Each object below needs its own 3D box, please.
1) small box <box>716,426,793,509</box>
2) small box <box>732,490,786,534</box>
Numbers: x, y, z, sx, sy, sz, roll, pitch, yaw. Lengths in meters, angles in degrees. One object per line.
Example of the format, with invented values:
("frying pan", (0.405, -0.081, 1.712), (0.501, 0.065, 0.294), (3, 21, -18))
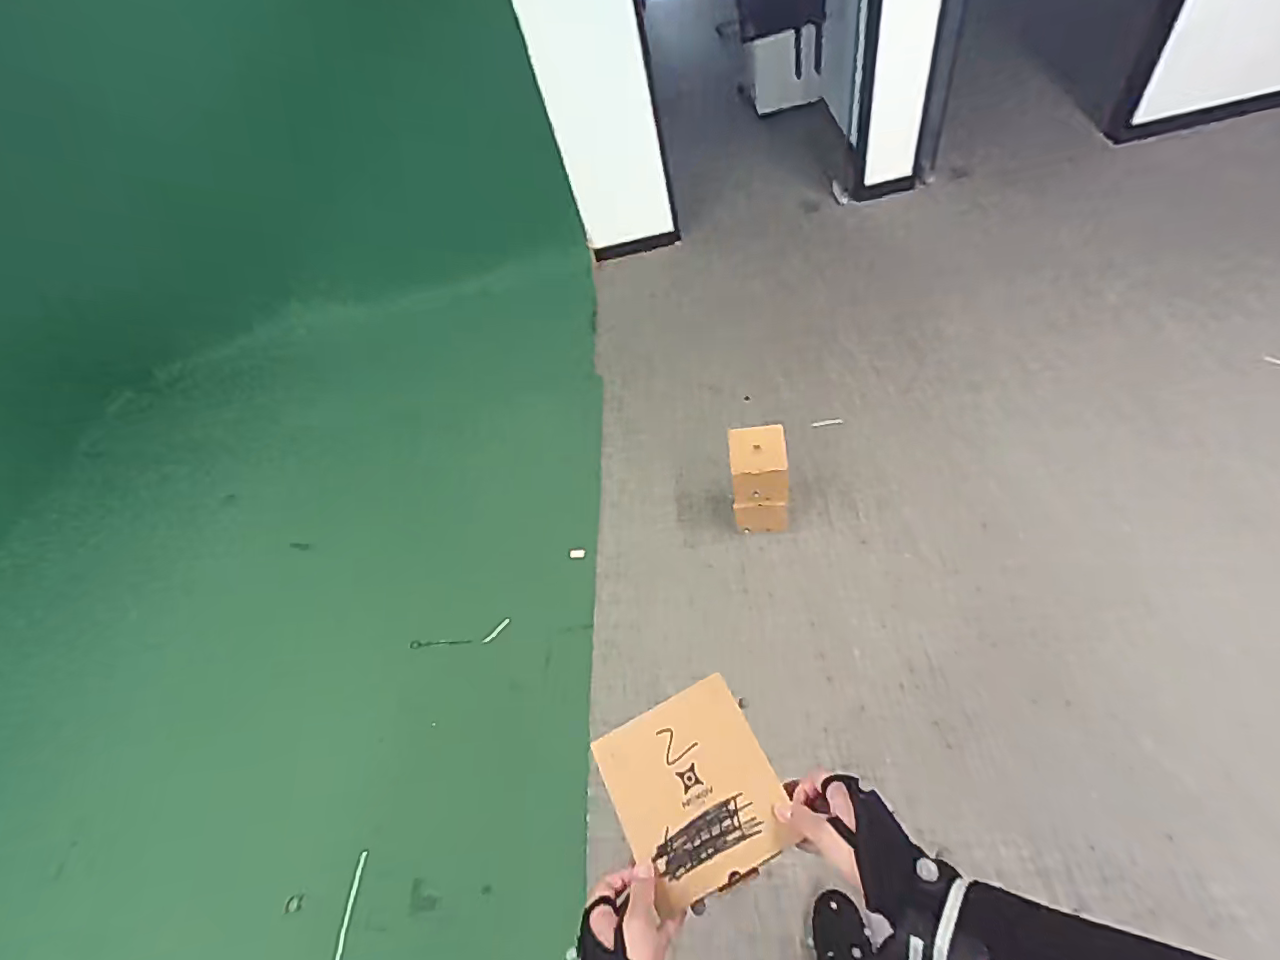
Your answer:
("small box", (0.361, -0.035, 1.686), (0.179, 0.176, 0.168), (24, 65, 30))
("small box", (0.394, 0.070, 1.795), (0.168, 0.176, 0.179), (-4, 53, 12))
